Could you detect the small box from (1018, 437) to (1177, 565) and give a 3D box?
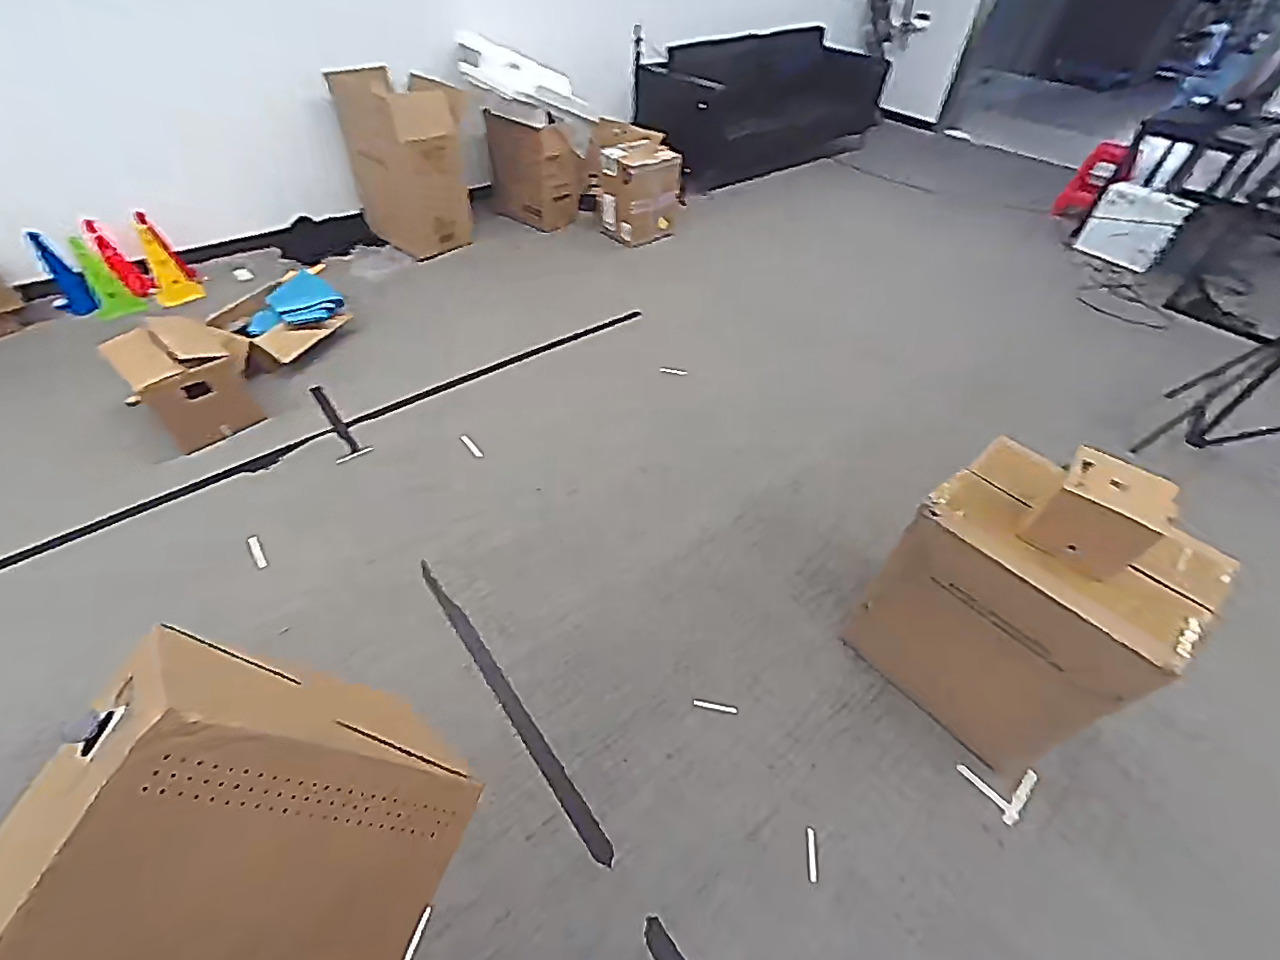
[{"bbox_3d":[0.936,0.050,1.116,0.179,0.176,0.168,34,55,26],"label":"small box"}]

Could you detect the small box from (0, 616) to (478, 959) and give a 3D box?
[{"bbox_3d":[-0.228,0.200,0.313,0.168,0.179,0.176,0,58,49],"label":"small box"}]
